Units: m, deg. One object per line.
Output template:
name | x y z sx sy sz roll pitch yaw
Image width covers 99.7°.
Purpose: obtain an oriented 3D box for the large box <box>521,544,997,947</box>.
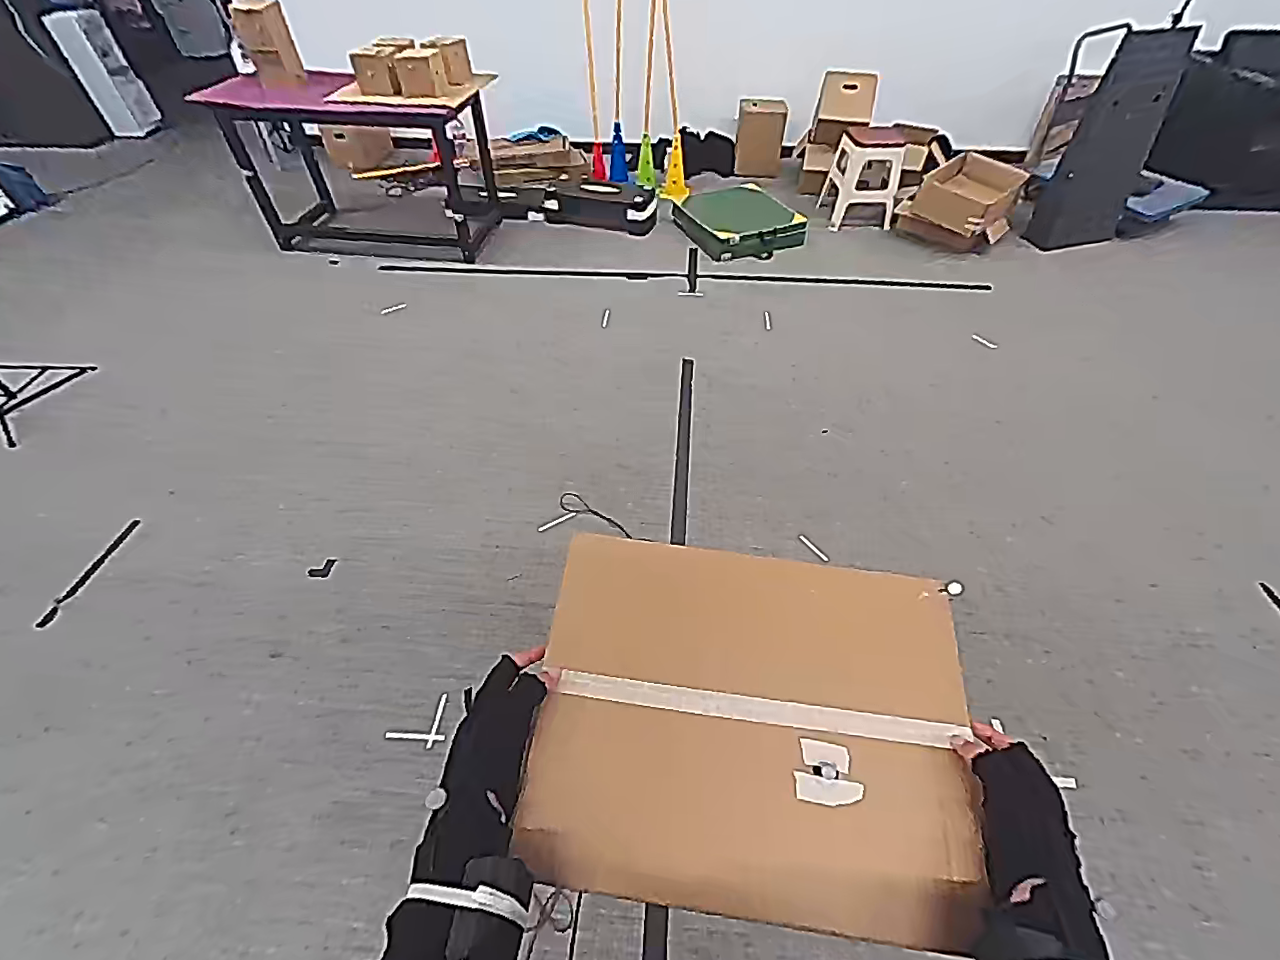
large box | 0.109 0.300 0.648 0.408 0.320 0.320 8 60 4
